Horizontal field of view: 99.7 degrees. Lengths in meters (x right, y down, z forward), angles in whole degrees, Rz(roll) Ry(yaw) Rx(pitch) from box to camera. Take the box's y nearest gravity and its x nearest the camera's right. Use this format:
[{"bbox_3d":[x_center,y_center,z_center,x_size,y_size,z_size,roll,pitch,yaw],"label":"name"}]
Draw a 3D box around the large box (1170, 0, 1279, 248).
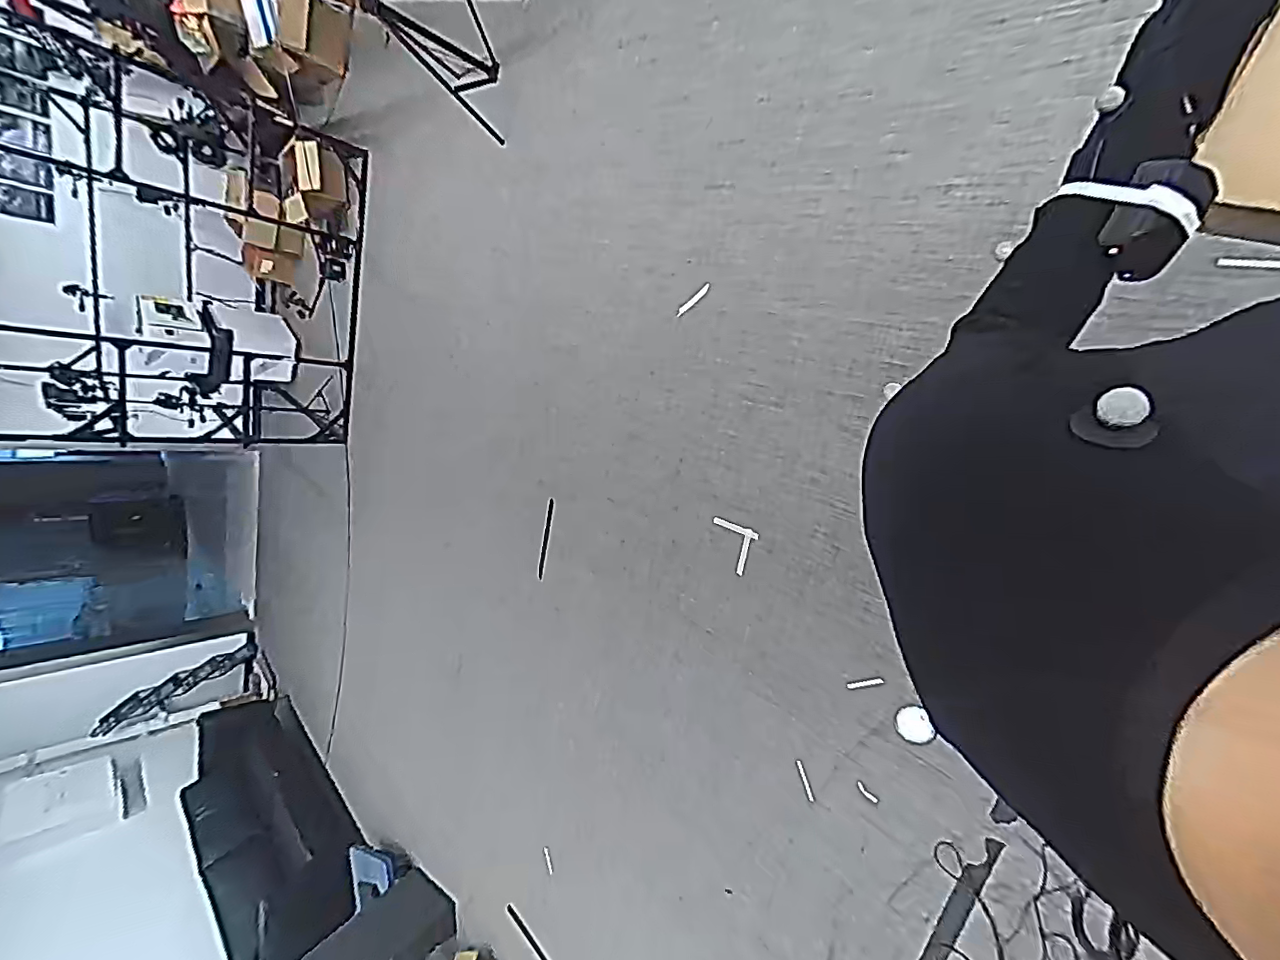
[{"bbox_3d":[0.671,-0.298,0.340,0.408,0.320,0.320,32,125,33],"label":"large box"}]
